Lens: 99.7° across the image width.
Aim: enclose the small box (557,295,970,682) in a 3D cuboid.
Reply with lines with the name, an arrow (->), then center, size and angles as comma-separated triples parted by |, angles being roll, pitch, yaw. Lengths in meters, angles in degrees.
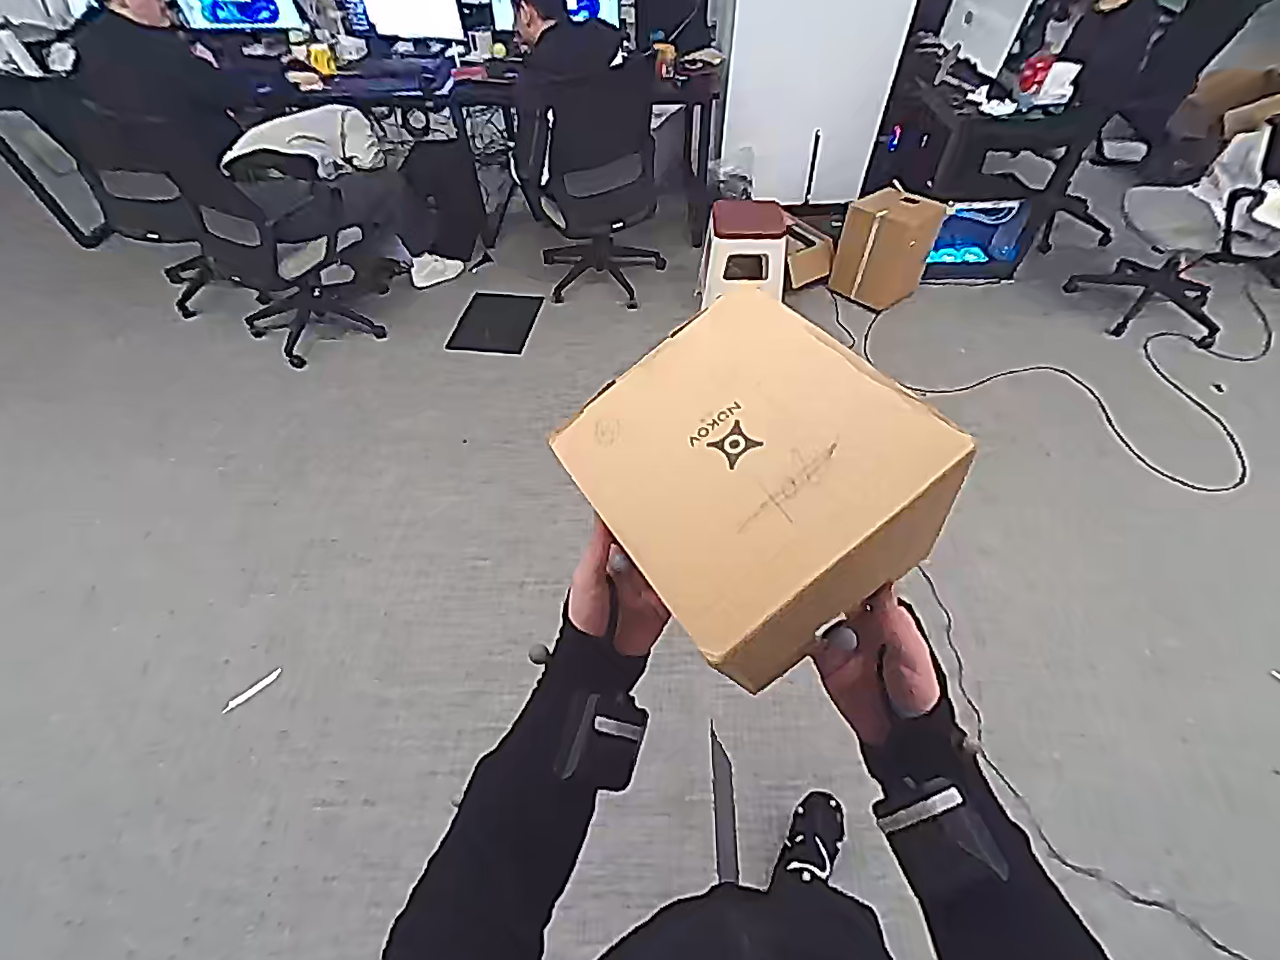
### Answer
small box -> 0.078, 0.018, 0.375 | 0.168, 0.176, 0.179 | -40, 60, -1
